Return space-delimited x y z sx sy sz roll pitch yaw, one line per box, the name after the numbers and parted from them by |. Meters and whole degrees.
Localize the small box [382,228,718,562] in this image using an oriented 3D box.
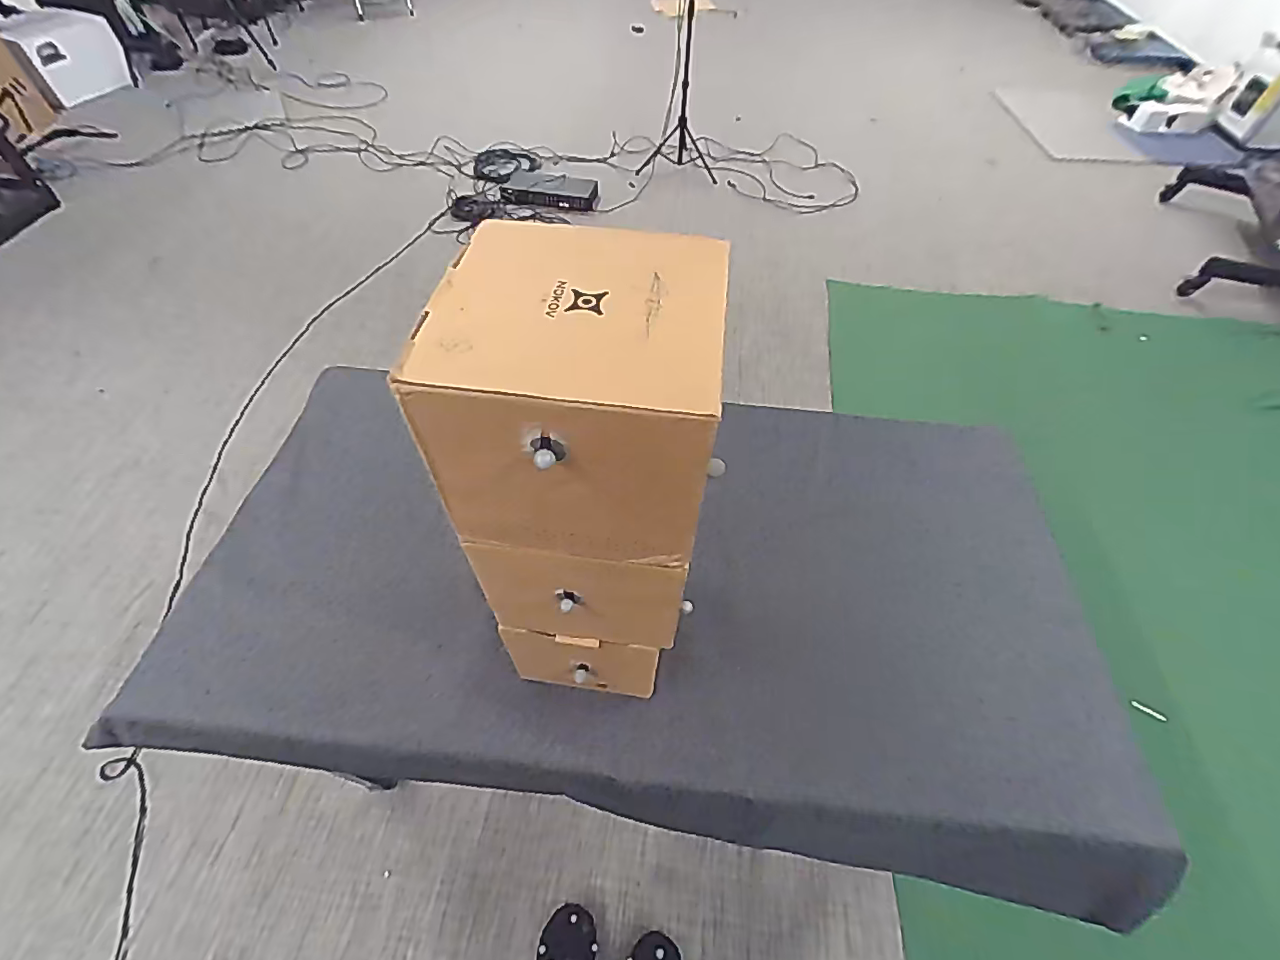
-0.043 -0.055 0.389 0.179 0.176 0.168 6 54 3 | small box

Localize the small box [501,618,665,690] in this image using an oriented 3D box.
-0.049 0.139 0.652 0.168 0.176 0.179 6 54 4 | small box

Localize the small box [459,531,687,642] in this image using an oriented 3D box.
-0.043 0.043 0.518 0.179 0.176 0.168 5 53 5 | small box
